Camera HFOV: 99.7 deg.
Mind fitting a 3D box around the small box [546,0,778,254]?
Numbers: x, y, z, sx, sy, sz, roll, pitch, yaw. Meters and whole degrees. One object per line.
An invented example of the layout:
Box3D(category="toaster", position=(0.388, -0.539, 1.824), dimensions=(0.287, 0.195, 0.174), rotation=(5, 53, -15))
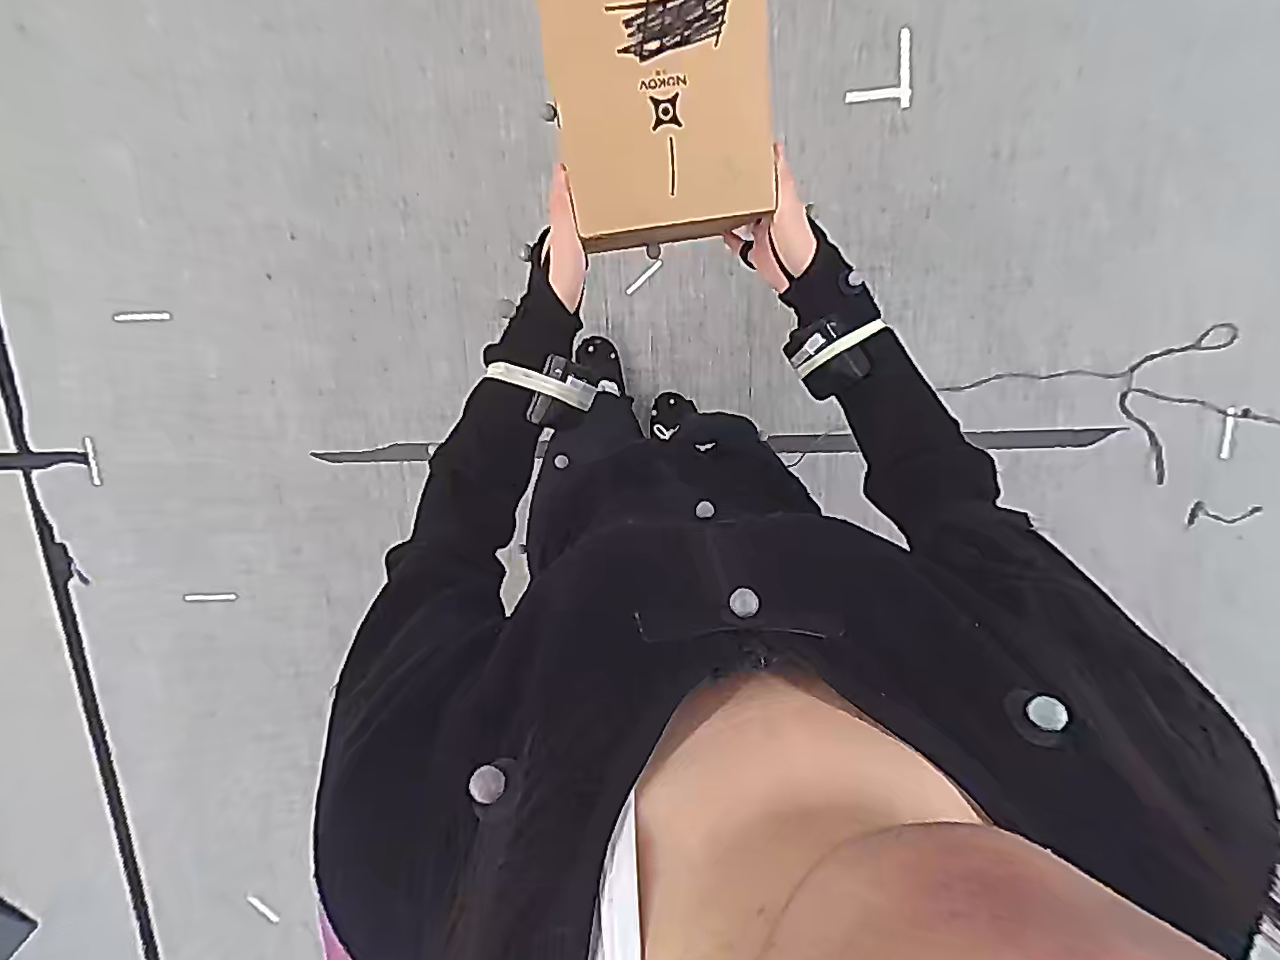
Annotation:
Box3D(category="small box", position=(0.012, -0.312, 0.482), dimensions=(0.168, 0.176, 0.179), rotation=(-10, 109, -3))
